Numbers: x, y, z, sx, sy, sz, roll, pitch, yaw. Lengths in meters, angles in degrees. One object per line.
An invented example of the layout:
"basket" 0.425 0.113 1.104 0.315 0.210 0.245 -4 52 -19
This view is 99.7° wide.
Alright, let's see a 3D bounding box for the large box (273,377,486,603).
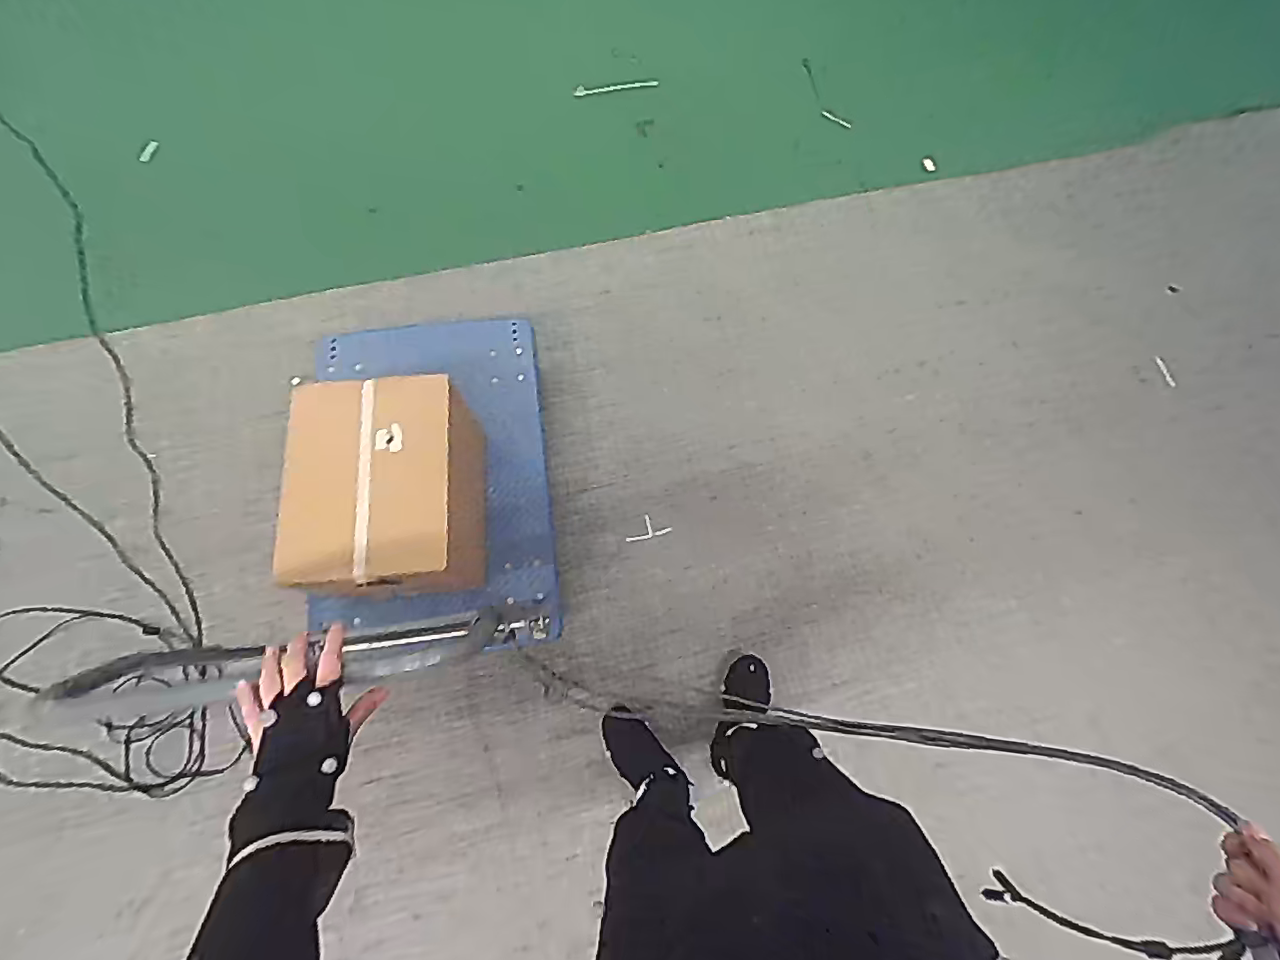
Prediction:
"large box" -0.527 0.038 1.169 0.320 0.320 0.408 -4 73 -4
